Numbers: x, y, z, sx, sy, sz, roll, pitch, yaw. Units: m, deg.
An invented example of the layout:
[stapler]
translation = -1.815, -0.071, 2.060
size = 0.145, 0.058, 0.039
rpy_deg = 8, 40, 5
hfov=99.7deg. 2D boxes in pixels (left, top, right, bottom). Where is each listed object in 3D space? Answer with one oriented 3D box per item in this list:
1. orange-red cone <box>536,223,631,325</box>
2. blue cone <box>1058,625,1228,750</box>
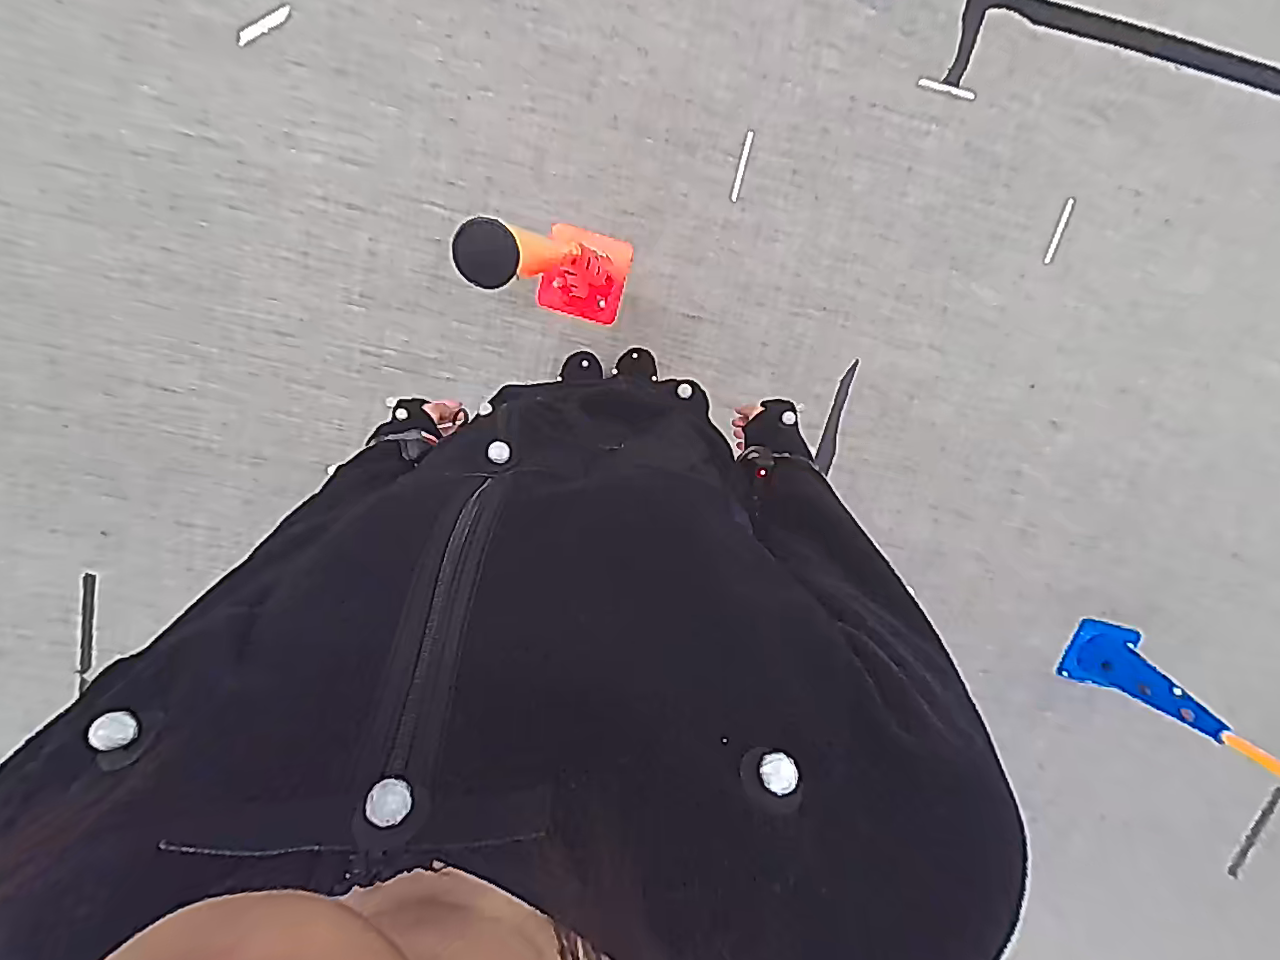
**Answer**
[orange-red cone]
translation = -0.129, -0.450, 1.128
size = 0.198, 0.360, 0.199
rpy_deg = 16, 102, -6
[blue cone]
translation = 1.374, 0.570, 1.459
size = 0.193, 0.380, 0.192
rpy_deg = 16, 104, -6
